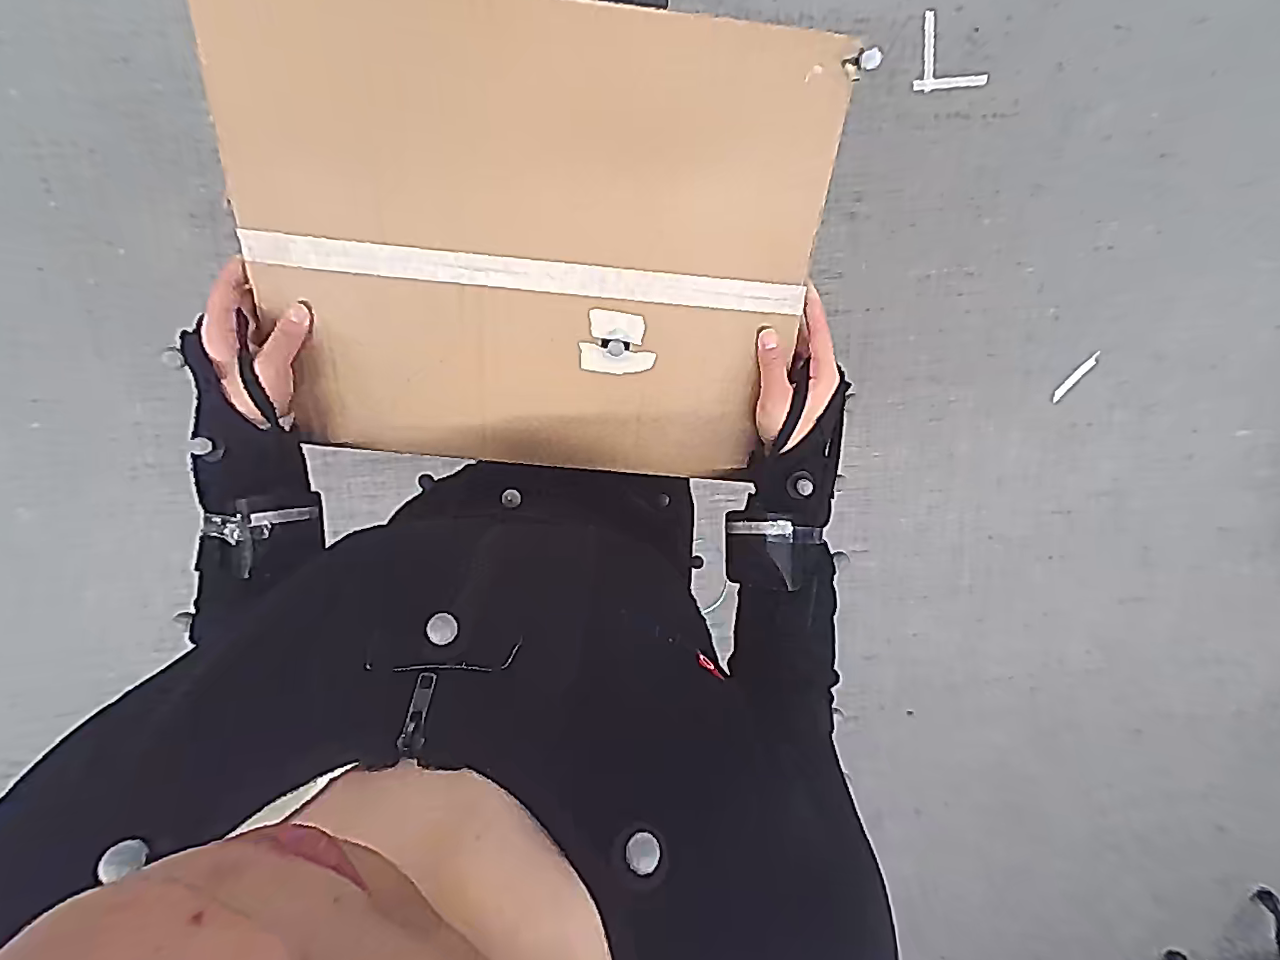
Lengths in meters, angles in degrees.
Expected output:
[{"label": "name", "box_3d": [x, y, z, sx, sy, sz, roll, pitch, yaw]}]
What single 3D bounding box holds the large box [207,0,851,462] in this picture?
[{"label": "large box", "box_3d": [-0.081, -0.232, 0.528, 0.408, 0.320, 0.320, 5, 119, -4]}]
